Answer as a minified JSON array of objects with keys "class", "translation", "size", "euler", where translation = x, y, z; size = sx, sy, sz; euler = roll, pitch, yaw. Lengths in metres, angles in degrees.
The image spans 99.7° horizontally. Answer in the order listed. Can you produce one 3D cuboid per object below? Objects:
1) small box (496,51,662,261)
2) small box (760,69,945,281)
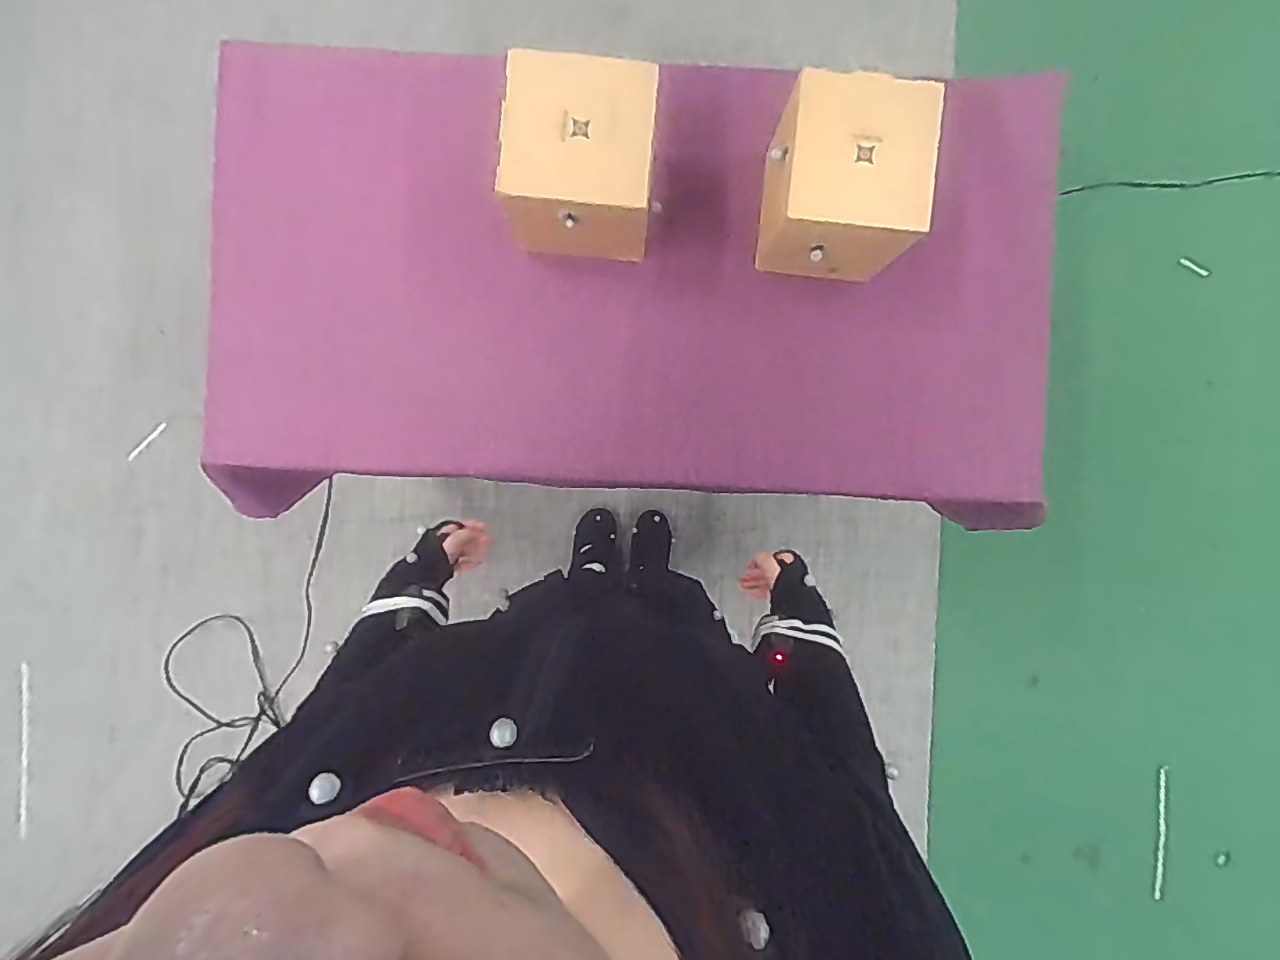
[{"class":"small box","translation":[-0.070,-0.399,0.695],"size":[0.179,0.176,0.168],"euler":[6,91,-1]},{"class":"small box","translation":[0.257,-0.374,0.694],"size":[0.168,0.176,0.179],"euler":[6,89,0]}]
